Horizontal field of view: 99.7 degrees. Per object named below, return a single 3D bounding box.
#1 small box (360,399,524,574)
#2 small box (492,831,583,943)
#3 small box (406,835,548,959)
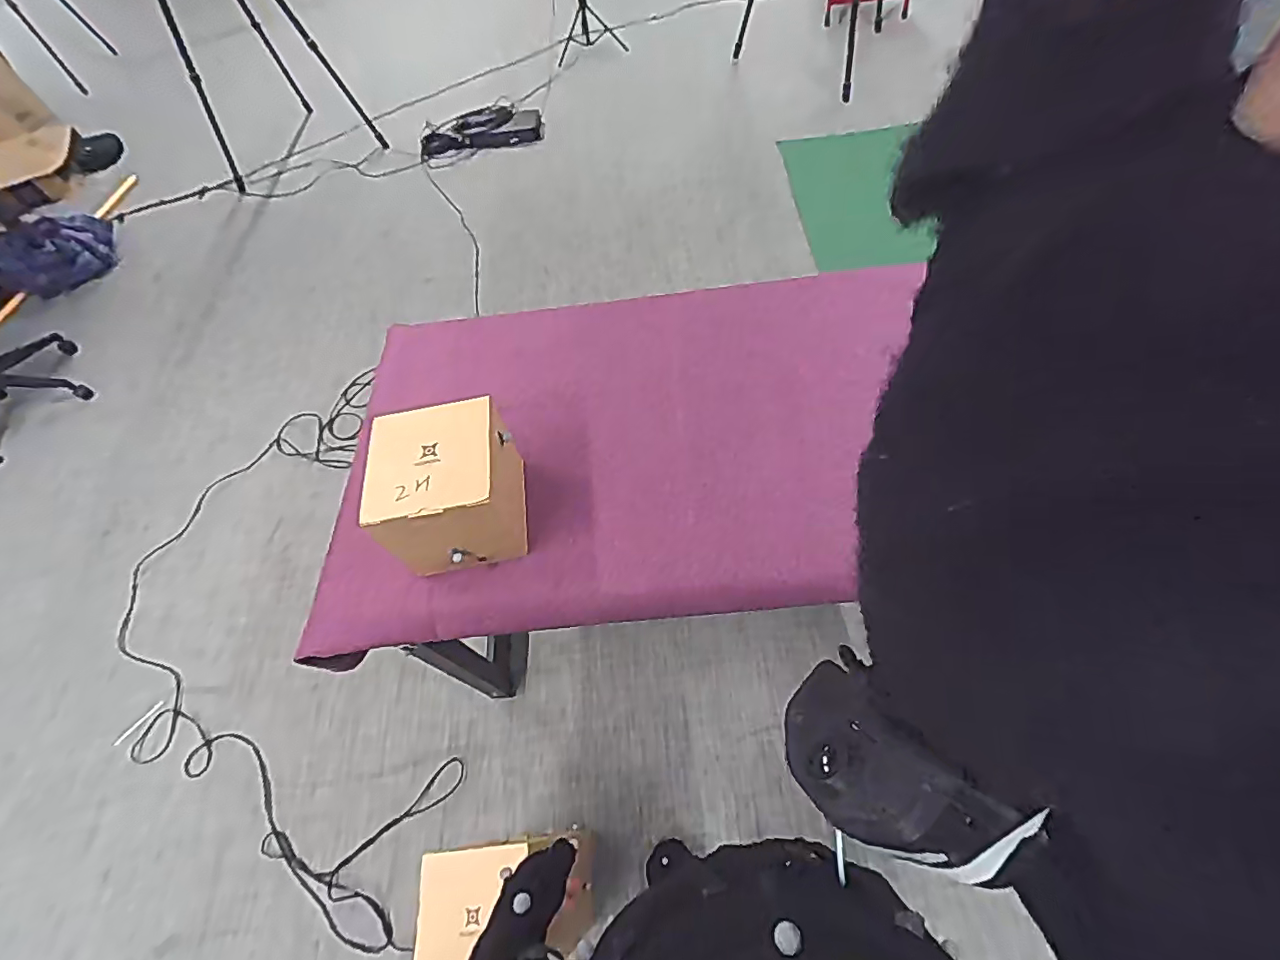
[{"bbox_3d":[-0.268,0.014,0.775,0.168,0.176,0.179,-10,57,0],"label":"small box"},{"bbox_3d":[-0.214,0.834,1.122,0.168,0.176,0.179,-5,59,4],"label":"small box"},{"bbox_3d":[-0.243,0.665,0.842,0.168,0.176,0.179,-7,61,2],"label":"small box"}]
